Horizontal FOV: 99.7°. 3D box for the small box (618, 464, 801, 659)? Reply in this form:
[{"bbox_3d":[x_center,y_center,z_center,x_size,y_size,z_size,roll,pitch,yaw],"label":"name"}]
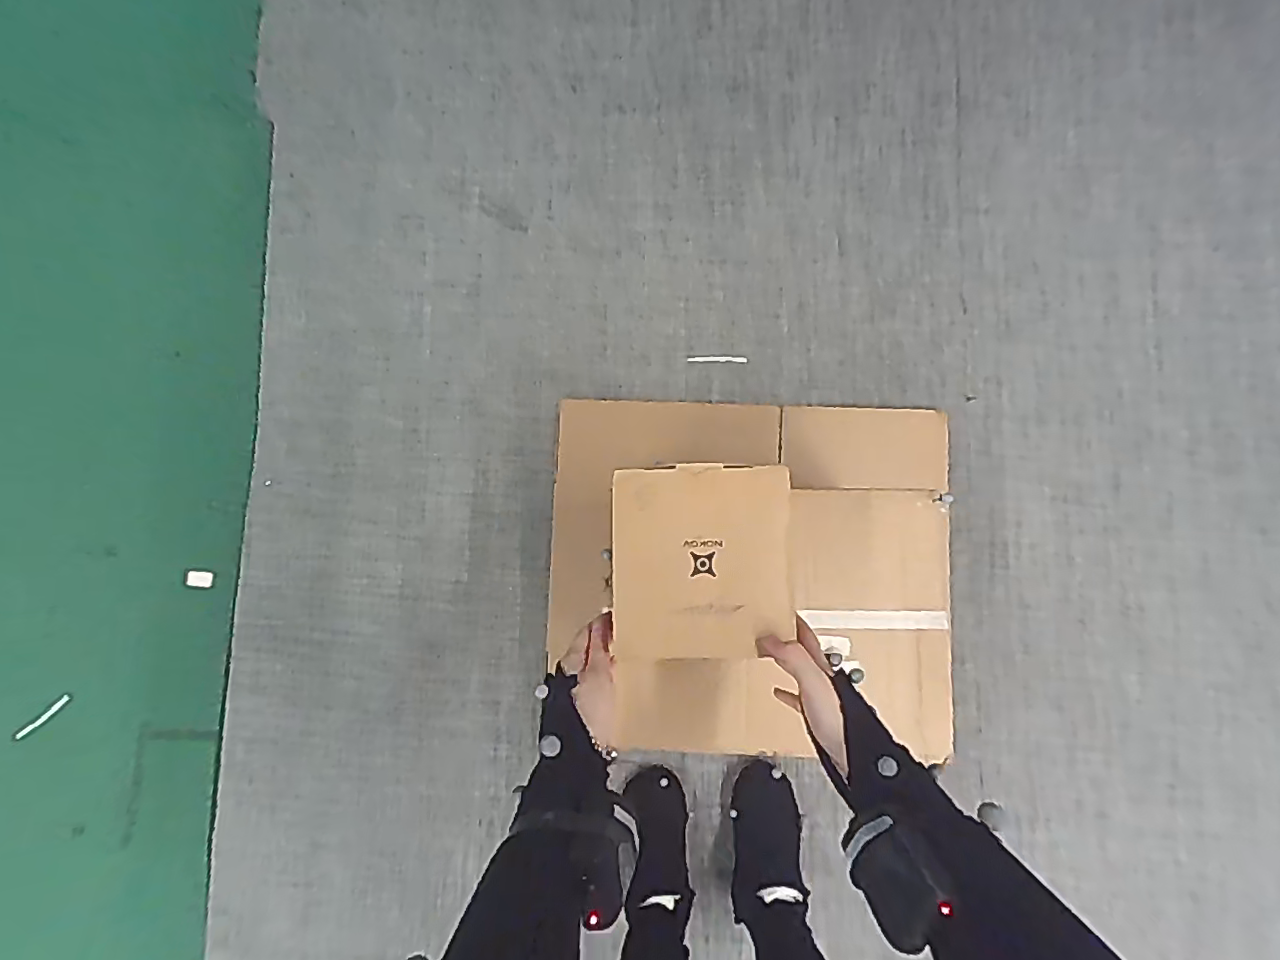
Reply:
[{"bbox_3d":[0.063,0.083,0.571,0.168,0.176,0.179,-2,84,2],"label":"small box"}]

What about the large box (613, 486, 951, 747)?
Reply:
[{"bbox_3d":[0.168,0.179,0.801,0.408,0.320,0.320,0,85,1],"label":"large box"}]
